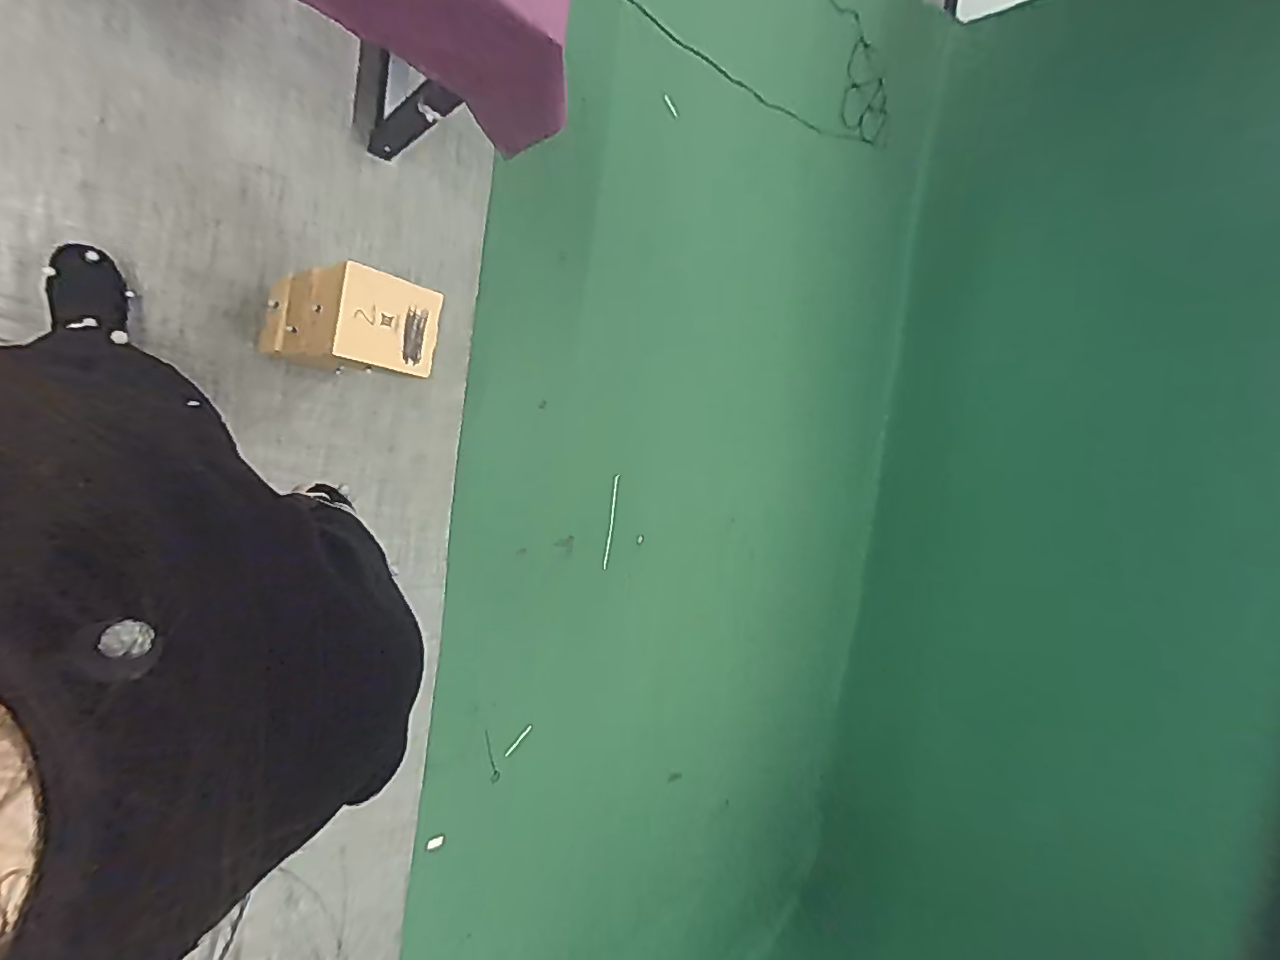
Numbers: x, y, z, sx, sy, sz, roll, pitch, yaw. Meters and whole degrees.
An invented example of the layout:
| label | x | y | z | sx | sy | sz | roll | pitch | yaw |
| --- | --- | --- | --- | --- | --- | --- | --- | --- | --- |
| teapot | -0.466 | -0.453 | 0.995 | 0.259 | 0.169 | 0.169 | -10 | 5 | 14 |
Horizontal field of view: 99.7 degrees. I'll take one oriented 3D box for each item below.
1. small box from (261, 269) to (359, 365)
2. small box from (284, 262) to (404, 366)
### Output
| label | x | y | z | sx | sy | sz | roll | pitch | yaw |
| --- | --- | --- | --- | --- | --- | --- | --- | --- | --- |
| small box | -0.751 | -0.365 | 1.253 | 0.179 | 0.176 | 0.168 | 10 | 91 | -47 |
| small box | -0.631 | -0.341 | 1.146 | 0.179 | 0.176 | 0.168 | 6 | 95 | -47 |
